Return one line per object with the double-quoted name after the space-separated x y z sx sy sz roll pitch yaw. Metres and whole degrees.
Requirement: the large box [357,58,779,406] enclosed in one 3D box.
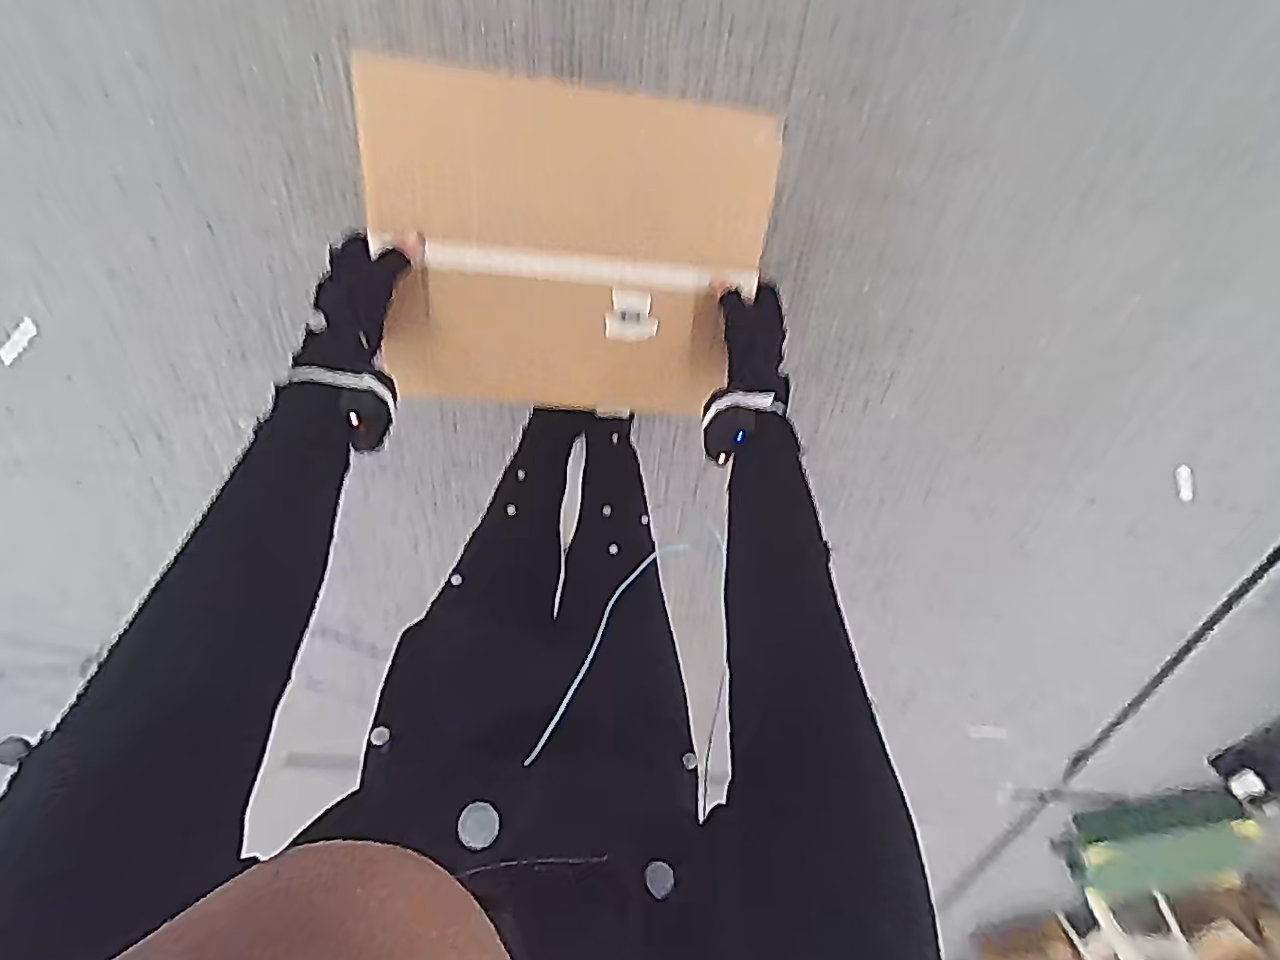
-0.090 -0.298 0.704 0.408 0.320 0.320 2 117 -9 "large box"
